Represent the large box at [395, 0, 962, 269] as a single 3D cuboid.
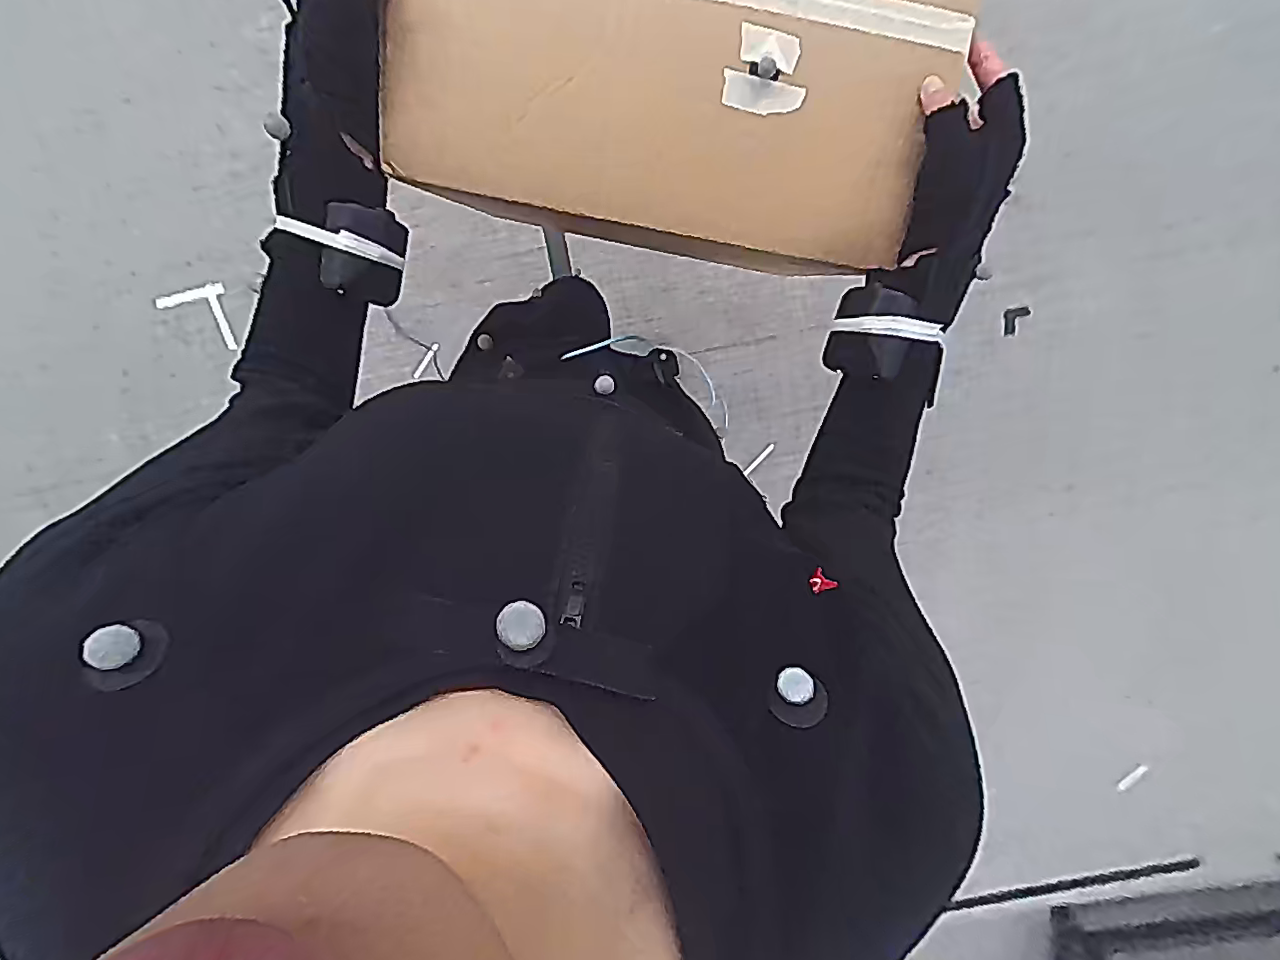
[{"bbox_3d":[0.027,-0.399,0.519,0.408,0.320,0.320,9,111,-4],"label":"large box"}]
